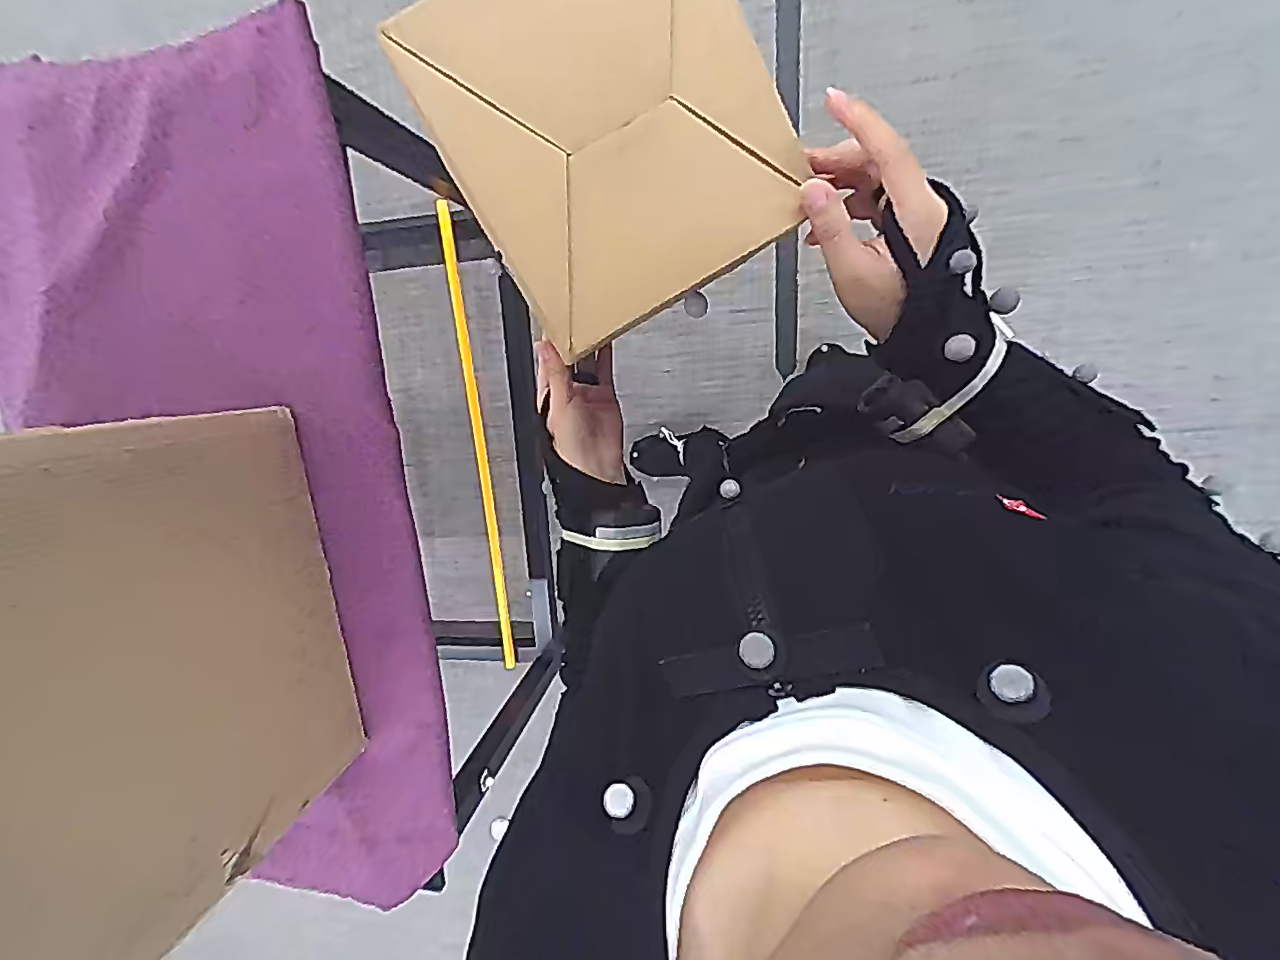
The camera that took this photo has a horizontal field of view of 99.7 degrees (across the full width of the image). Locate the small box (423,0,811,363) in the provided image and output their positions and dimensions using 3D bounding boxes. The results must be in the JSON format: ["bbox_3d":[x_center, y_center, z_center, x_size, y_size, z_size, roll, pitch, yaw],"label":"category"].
[{"bbox_3d":[-0.018,-0.196,0.354,0.168,0.176,0.179,-31,103,-2],"label":"small box"}]
